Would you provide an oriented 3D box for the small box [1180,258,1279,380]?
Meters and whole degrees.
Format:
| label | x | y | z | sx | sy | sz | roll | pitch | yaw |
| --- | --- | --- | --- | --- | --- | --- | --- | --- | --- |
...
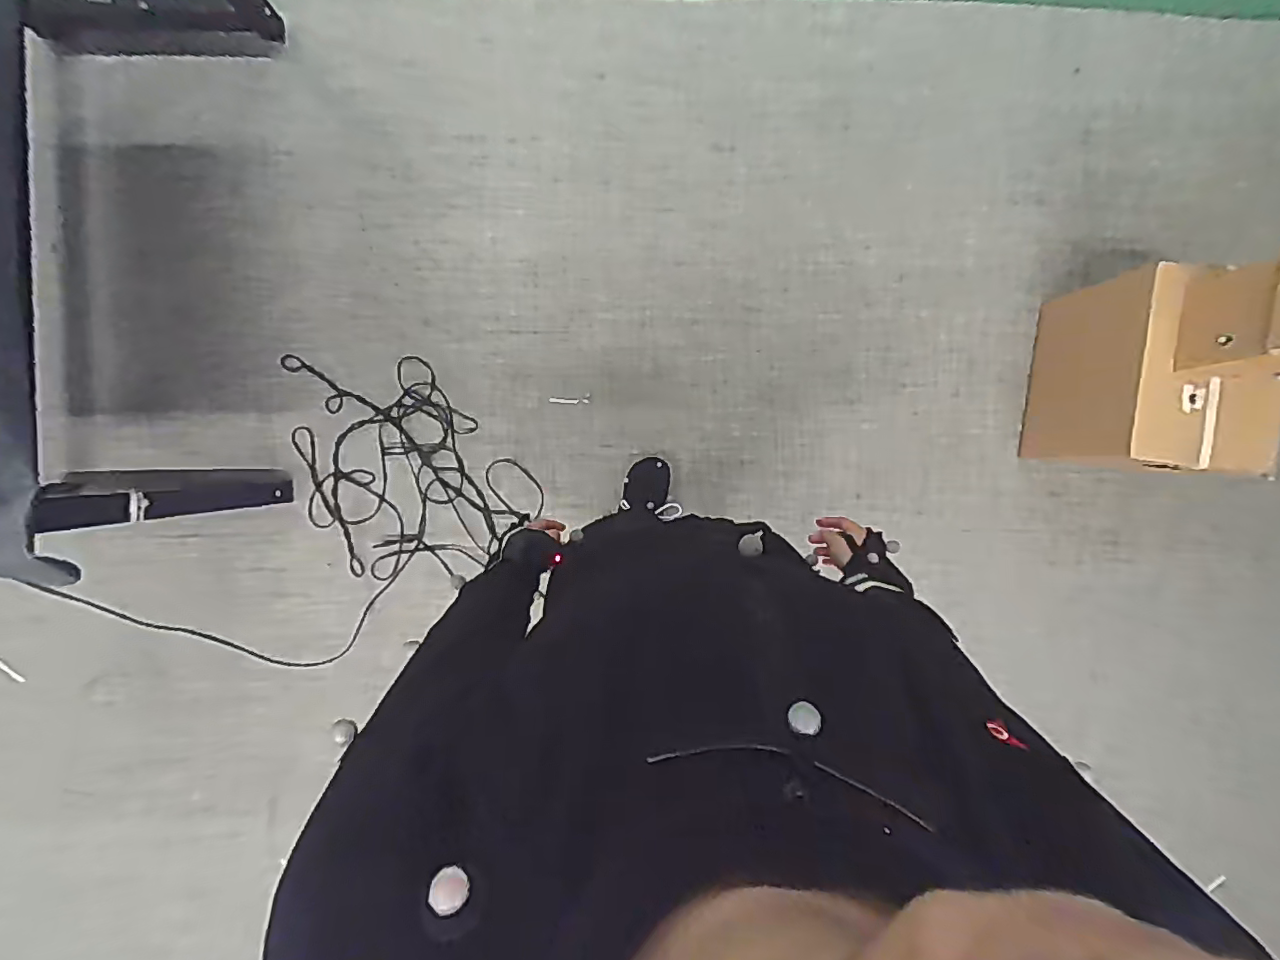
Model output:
| label | x | y | z | sx | sy | sz | roll | pitch | yaw |
| --- | --- | --- | --- | --- | --- | --- | --- | --- | --- |
| small box | 1.164 | -0.288 | 1.000 | 0.168 | 0.176 | 0.179 | 7 | 91 | -3 |

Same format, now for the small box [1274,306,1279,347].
| label | x | y | z | sx | sy | sz | roll | pitch | yaw |
| --- | --- | --- | --- | --- | --- | --- | --- | --- | --- |
| small box | 1.163 | -0.291 | 0.837 | 0.168 | 0.176 | 0.179 | 9 | 92 | -3 |

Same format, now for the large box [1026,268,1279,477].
| label | x | y | z | sx | sy | sz | roll | pitch | yaw |
| --- | --- | --- | --- | --- | --- | --- | --- | --- | --- |
| large box | 1.162 | -0.225 | 1.244 | 0.320 | 0.320 | 0.408 | 6 | 92 | -1 |
